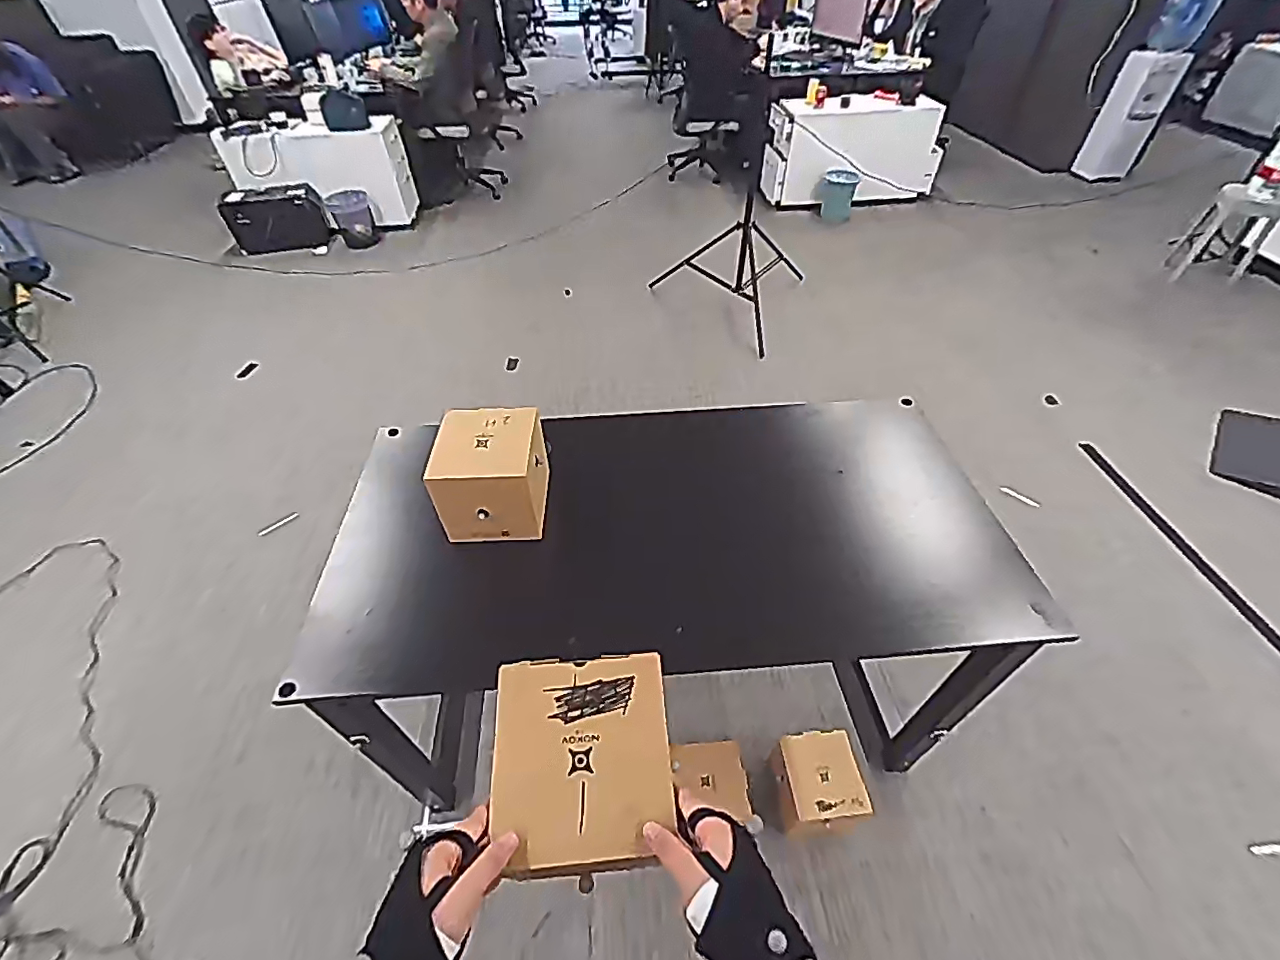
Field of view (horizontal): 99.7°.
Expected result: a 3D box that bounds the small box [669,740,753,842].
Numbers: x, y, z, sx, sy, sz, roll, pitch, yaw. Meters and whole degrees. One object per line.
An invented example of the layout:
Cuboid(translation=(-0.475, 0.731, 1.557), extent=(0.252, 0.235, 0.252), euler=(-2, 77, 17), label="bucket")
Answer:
Cuboid(translation=(0.152, 0.730, 1.269), extent=(0.179, 0.176, 0.168), euler=(-5, 45, -2), label="small box")

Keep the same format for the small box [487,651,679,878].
Cuboid(translation=(-0.056, 0.300, 0.569), extent=(0.168, 0.176, 0.179), euler=(-4, 53, -4), label="small box")

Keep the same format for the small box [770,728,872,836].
Cuboid(translation=(0.415, 0.712, 1.275), extent=(0.168, 0.176, 0.179), euler=(-5, 46, -2), label="small box")

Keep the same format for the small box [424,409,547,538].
Cuboid(translation=(-0.265, -0.007, 0.976), extent=(0.168, 0.176, 0.179), euler=(-2, 46, -1), label="small box")
